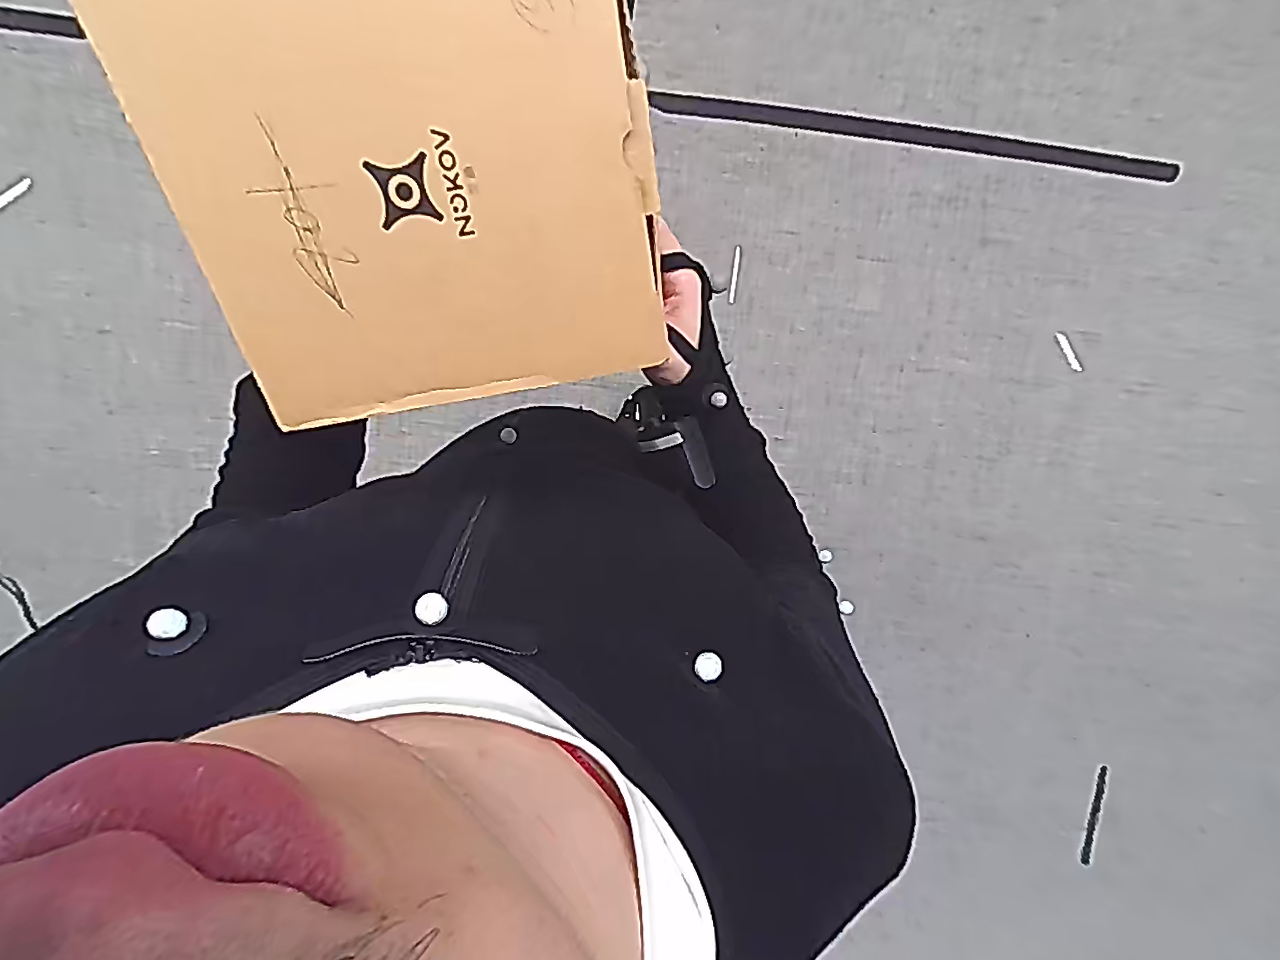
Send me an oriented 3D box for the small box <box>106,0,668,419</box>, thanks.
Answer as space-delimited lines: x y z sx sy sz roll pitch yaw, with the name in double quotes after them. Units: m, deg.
-0.091 -0.149 0.287 0.179 0.176 0.168 -10 116 0 "small box"
